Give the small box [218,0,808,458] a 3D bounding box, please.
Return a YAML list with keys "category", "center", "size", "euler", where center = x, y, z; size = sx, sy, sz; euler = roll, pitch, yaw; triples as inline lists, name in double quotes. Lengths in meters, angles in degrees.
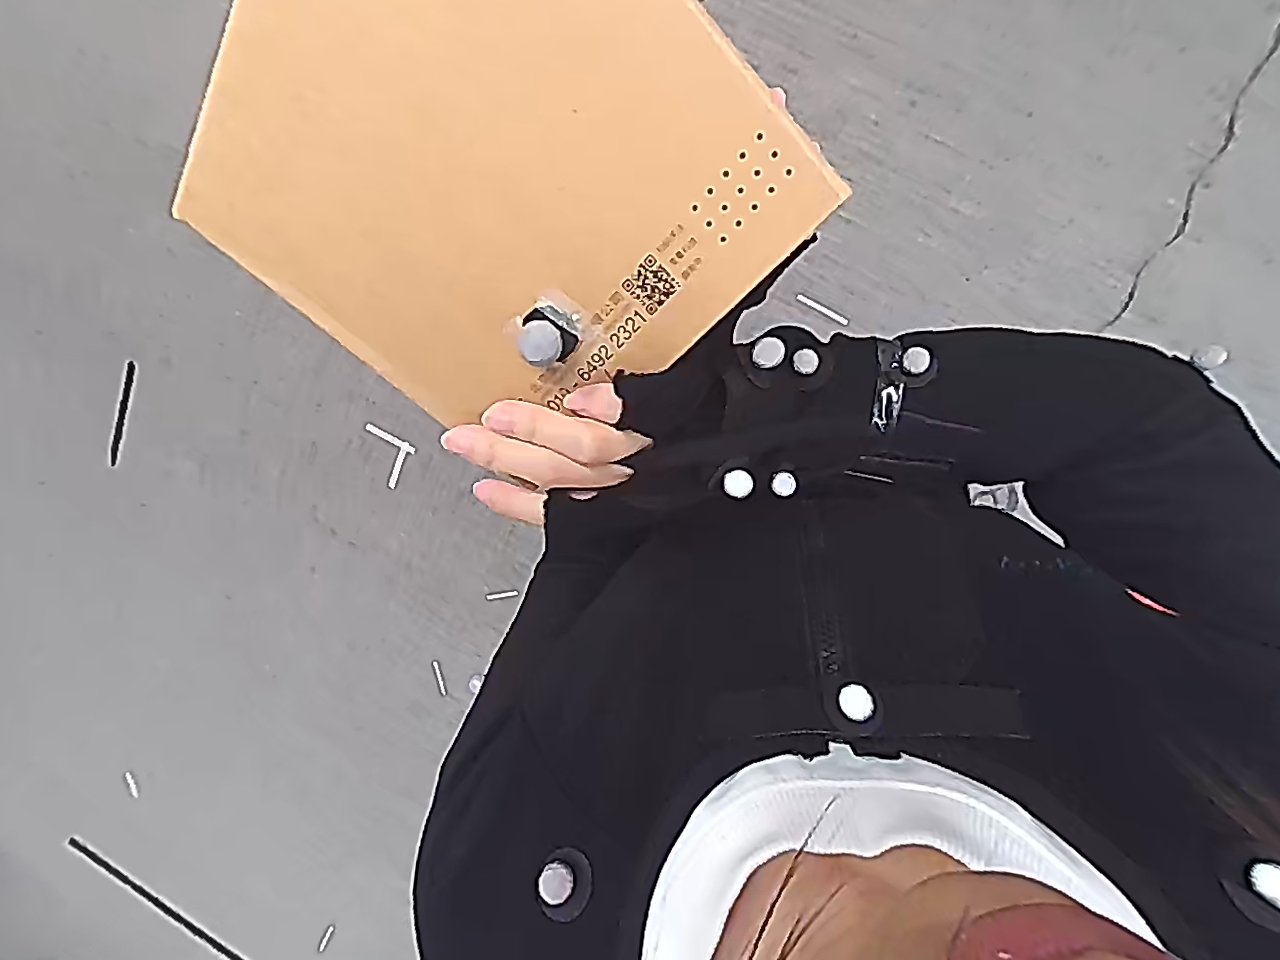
- category: "small box"
  center: [-0.040, -0.142, 0.264]
  size: [0.176, 0.179, 0.168]
  euler: [40, 122, -16]
